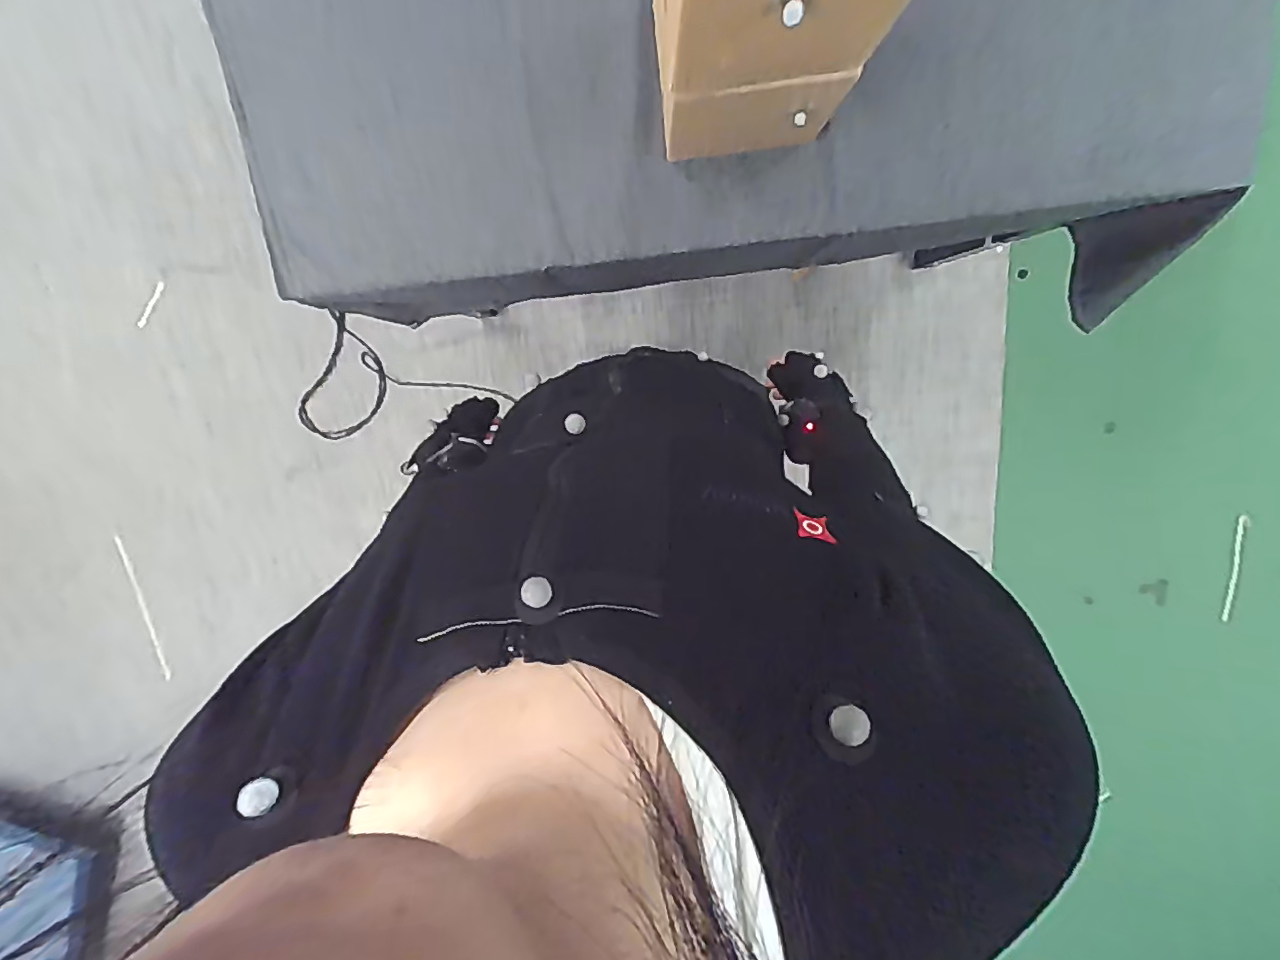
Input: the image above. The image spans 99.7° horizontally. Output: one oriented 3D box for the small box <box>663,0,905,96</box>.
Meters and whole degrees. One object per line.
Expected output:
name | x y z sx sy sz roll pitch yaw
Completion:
small box | 0.105 -0.423 0.402 0.179 0.176 0.168 -7 102 3
